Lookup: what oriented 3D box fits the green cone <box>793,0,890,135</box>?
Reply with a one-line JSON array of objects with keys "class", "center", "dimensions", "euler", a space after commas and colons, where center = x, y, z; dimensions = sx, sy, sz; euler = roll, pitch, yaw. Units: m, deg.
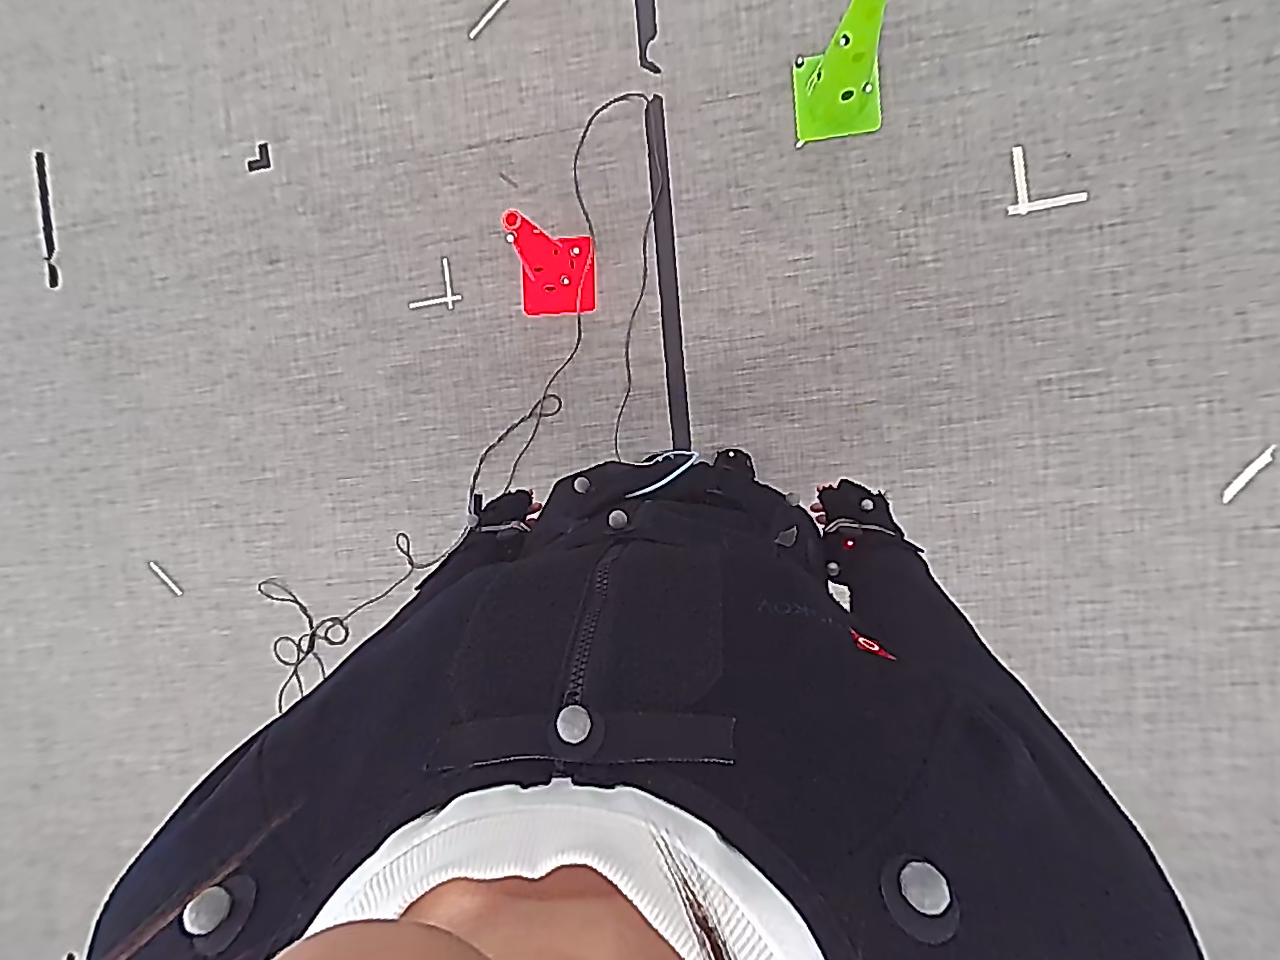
[{"class": "green cone", "center": [0.460, -0.940, 1.144], "dimensions": [0.202, 0.368, 0.200], "euler": [-5, 93, 6]}]

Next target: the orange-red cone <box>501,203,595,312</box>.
[{"class": "orange-red cone", "center": [-0.241, -0.542, 1.259], "dimensions": [0.199, 0.360, 0.198], "euler": [0, 92, 8]}]
